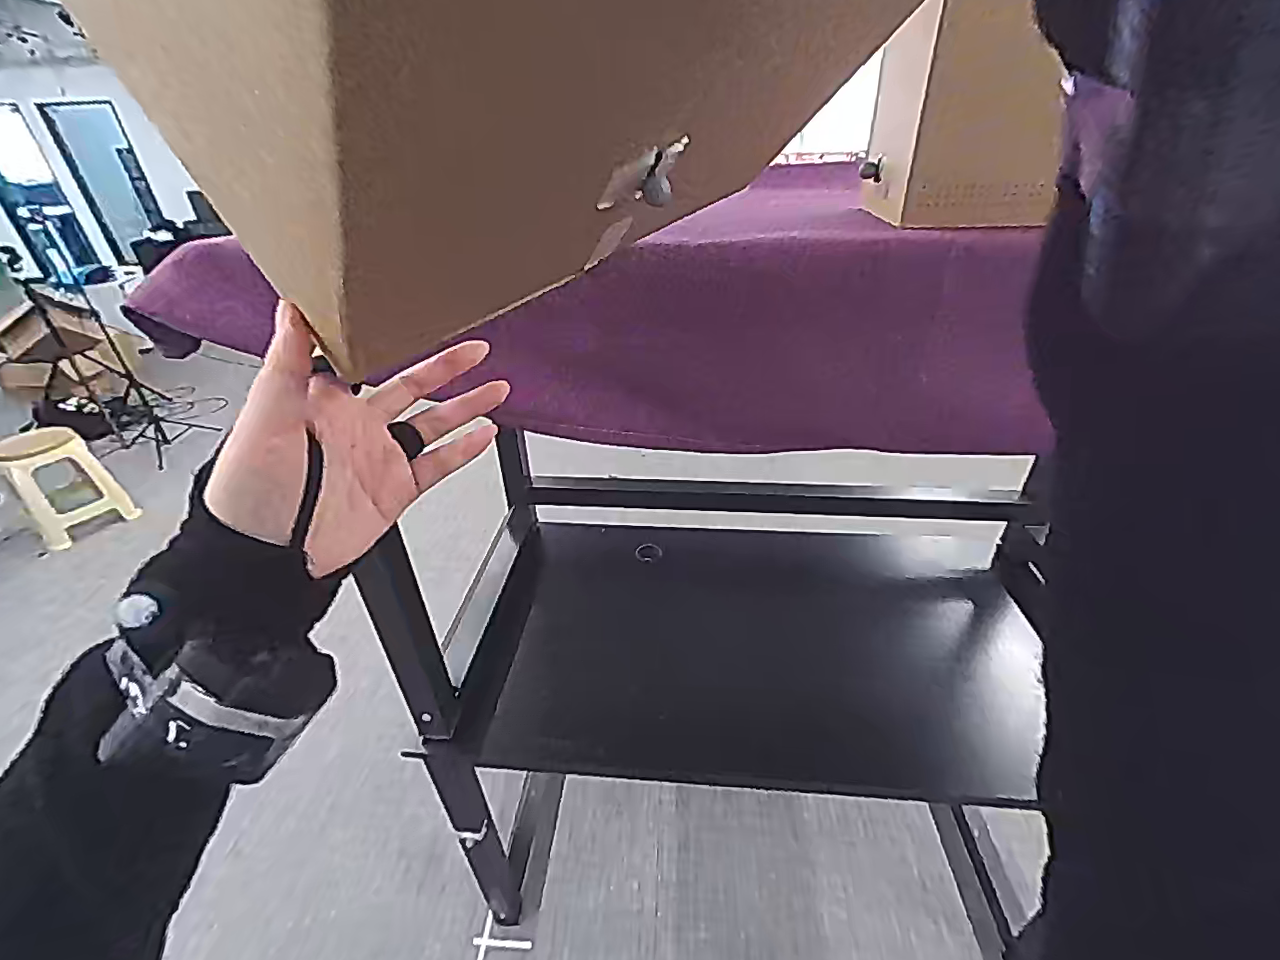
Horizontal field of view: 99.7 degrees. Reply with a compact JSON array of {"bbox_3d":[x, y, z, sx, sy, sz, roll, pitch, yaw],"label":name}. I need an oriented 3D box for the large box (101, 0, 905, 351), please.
[{"bbox_3d":[-0.072,-0.326,0.171,0.320,0.408,0.320,-38,5,-28],"label":"large box"}]

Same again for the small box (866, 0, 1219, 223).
[{"bbox_3d":[0.315,-0.325,0.465,0.179,0.176,0.168,2,31,8],"label":"small box"}]
